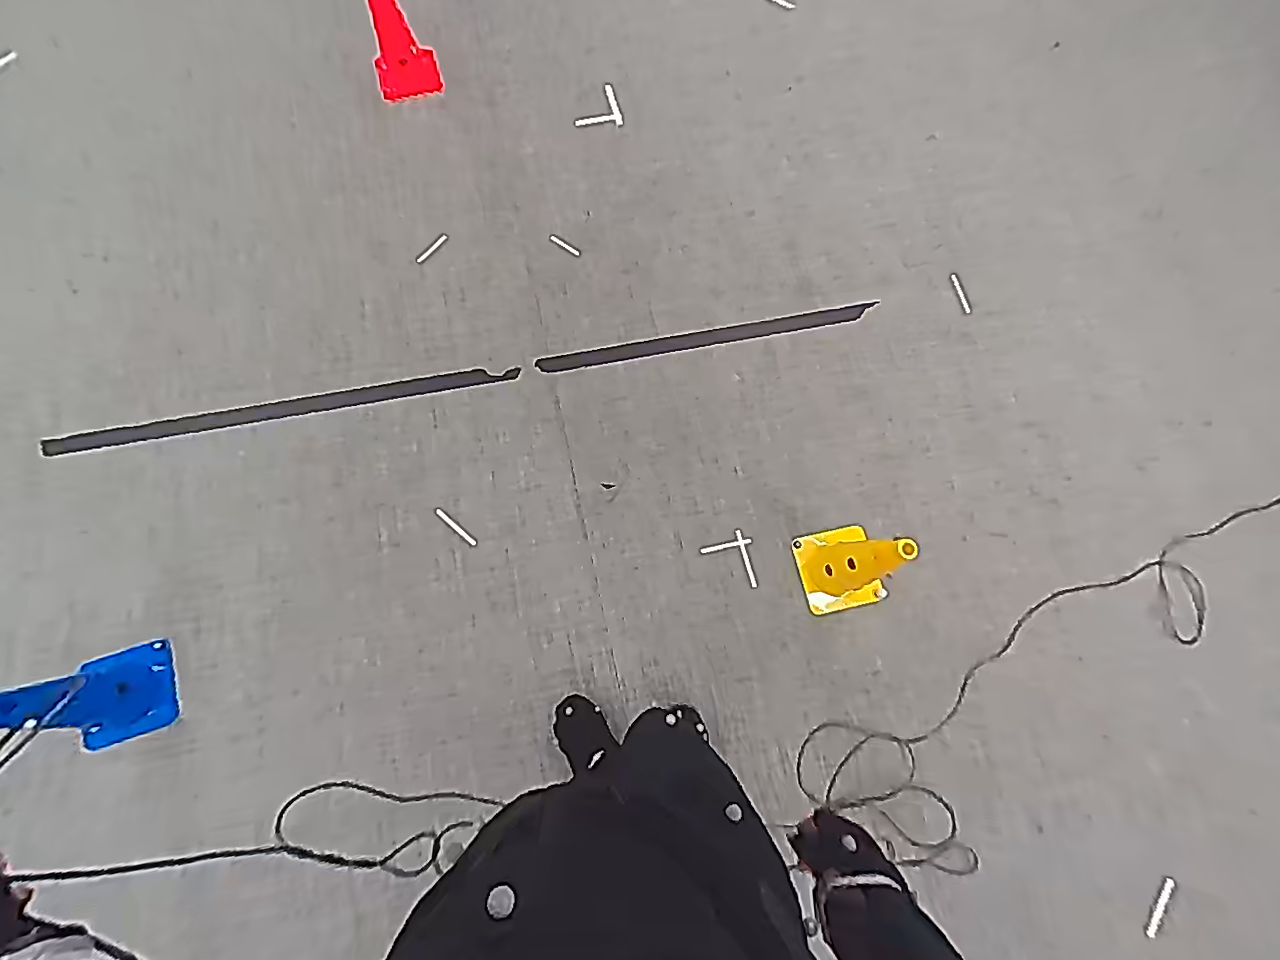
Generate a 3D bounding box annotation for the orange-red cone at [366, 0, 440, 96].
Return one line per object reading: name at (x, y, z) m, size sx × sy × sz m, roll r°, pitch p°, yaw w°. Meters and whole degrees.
orange-red cone at (-0.768, -1.402, 1.623) m, size 0.199 × 0.360 × 0.198 m, roll -16°, pitch 75°, yaw -5°

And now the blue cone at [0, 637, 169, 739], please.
blue cone at (-1.183, 0.435, 1.088) m, size 0.193 × 0.380 × 0.192 m, roll -16°, pitch 75°, yaw -6°
